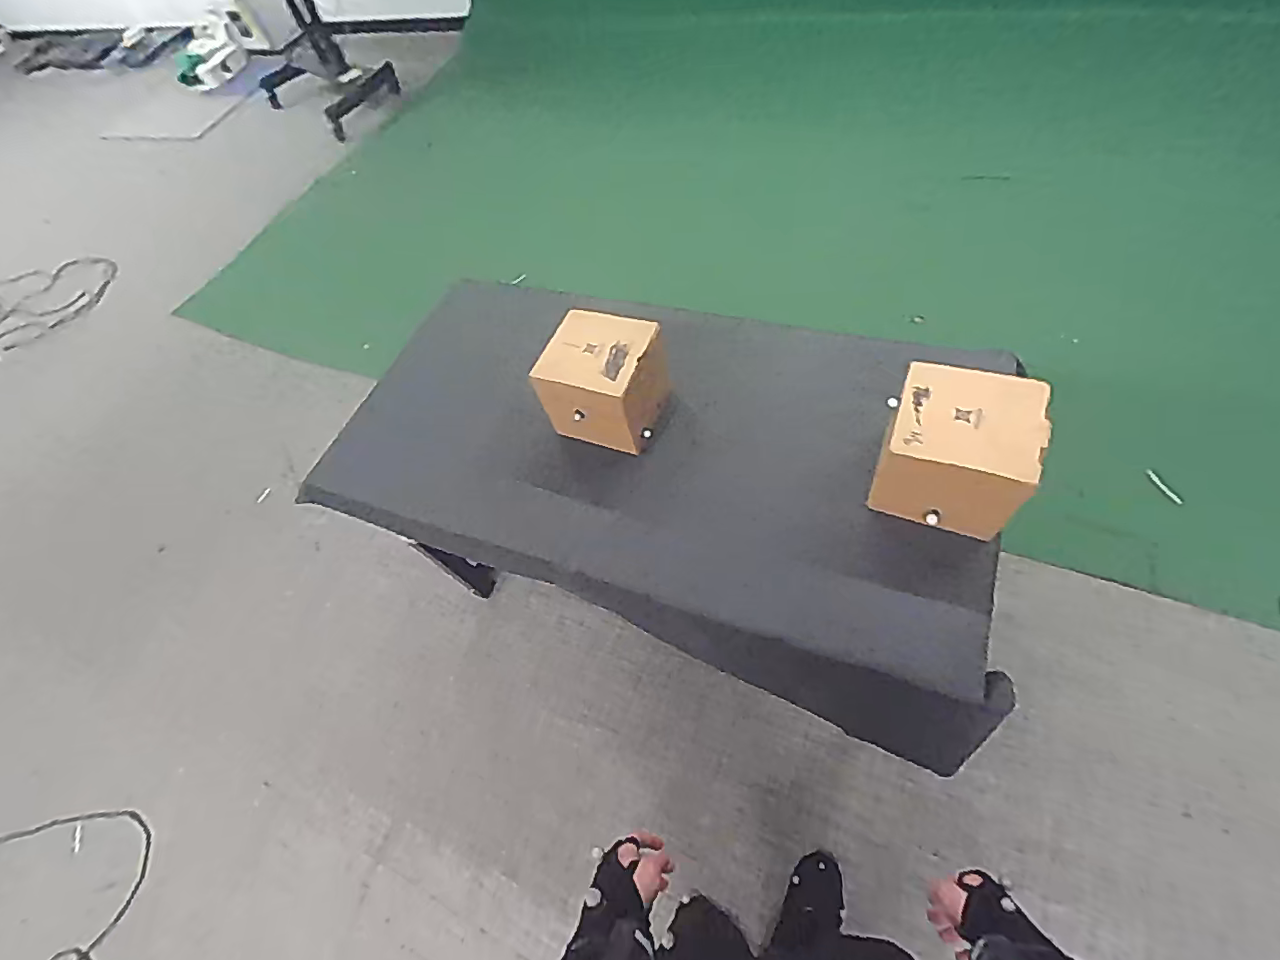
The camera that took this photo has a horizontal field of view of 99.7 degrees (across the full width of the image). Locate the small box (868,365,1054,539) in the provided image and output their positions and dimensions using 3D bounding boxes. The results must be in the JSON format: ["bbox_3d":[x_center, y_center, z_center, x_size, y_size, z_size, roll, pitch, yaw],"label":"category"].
[{"bbox_3d":[0.455,-0.034,0.786,0.179,0.176,0.168,18,63,19],"label":"small box"}]

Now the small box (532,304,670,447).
[{"bbox_3d":[-0.056,-0.180,0.960,0.179,0.176,0.168,17,63,20],"label":"small box"}]
